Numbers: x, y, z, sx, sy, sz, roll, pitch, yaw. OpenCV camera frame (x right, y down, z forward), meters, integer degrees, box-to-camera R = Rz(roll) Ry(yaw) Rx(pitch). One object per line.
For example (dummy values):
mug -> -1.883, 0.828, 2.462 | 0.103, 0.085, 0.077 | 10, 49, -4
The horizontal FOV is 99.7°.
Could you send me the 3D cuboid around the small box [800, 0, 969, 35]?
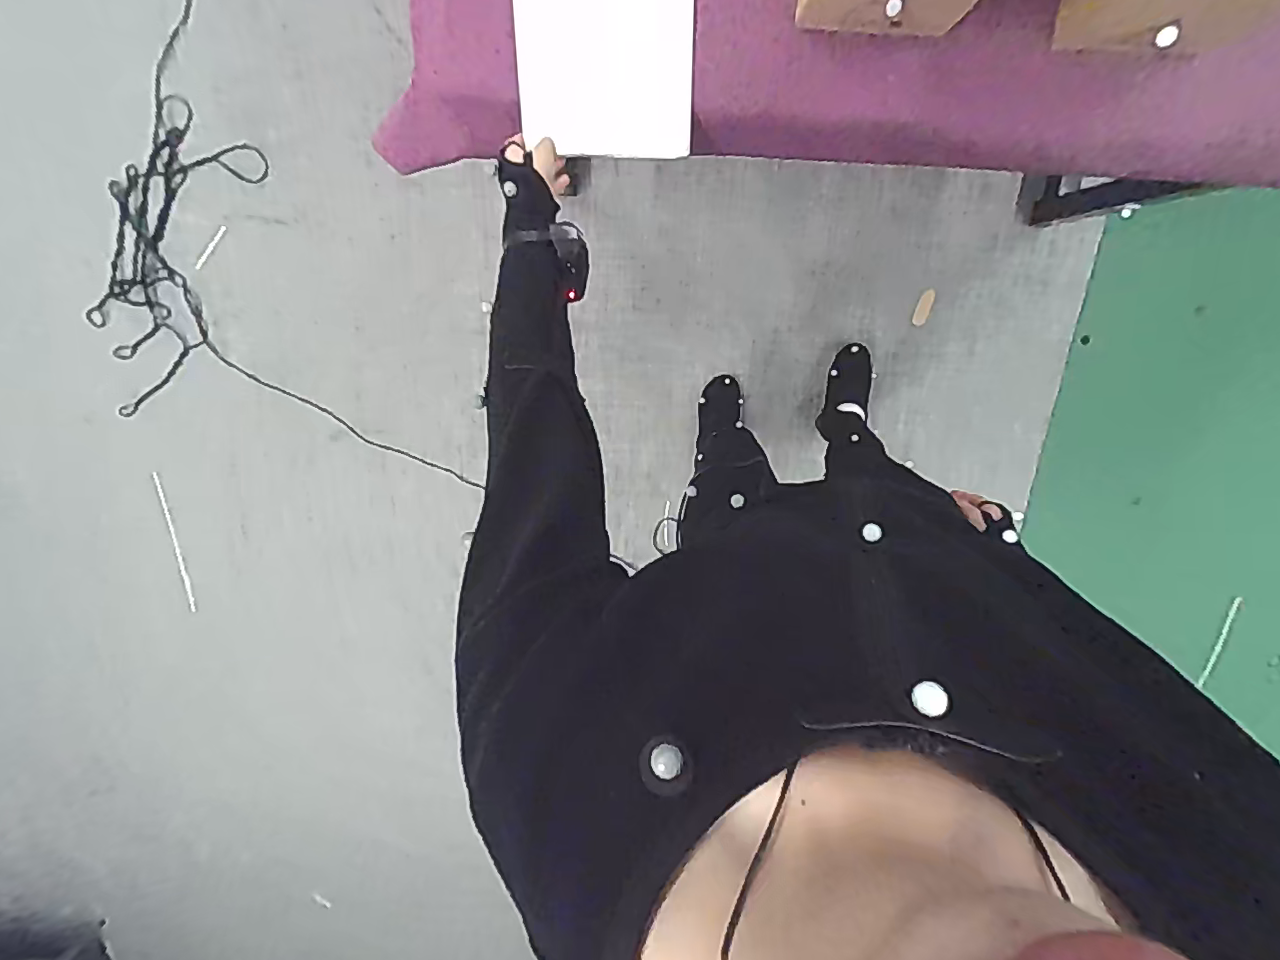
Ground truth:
small box -> 0.254, -0.550, 0.497 | 0.168, 0.176, 0.179 | 4, 108, 2
